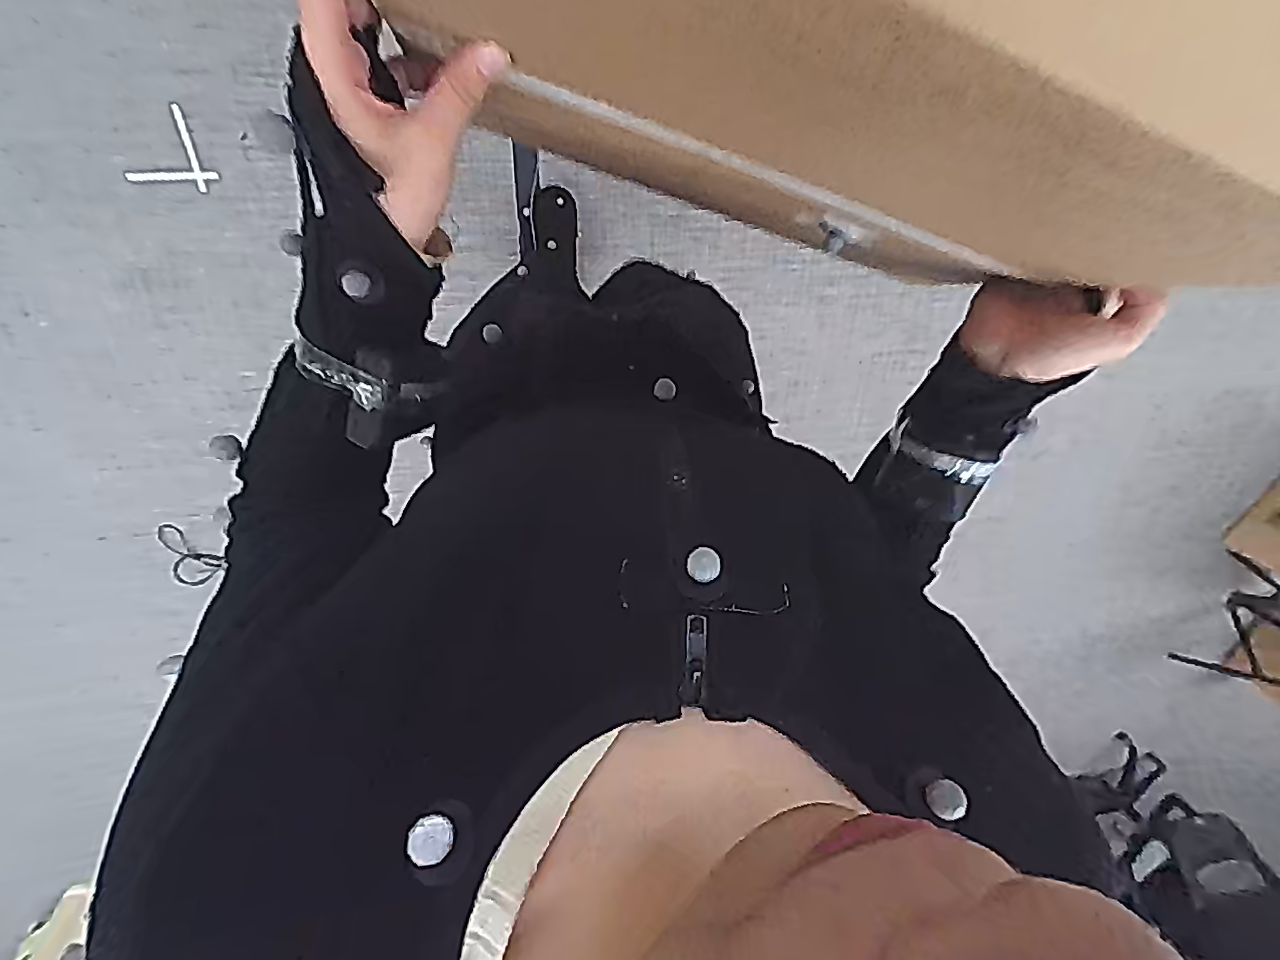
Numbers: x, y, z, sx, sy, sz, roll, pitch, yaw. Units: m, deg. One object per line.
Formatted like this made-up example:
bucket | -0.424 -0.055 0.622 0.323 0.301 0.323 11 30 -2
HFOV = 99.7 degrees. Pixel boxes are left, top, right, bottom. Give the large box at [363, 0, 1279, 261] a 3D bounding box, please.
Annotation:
large box | 0.103 -0.312 0.230 0.408 0.320 0.320 11 110 -13
